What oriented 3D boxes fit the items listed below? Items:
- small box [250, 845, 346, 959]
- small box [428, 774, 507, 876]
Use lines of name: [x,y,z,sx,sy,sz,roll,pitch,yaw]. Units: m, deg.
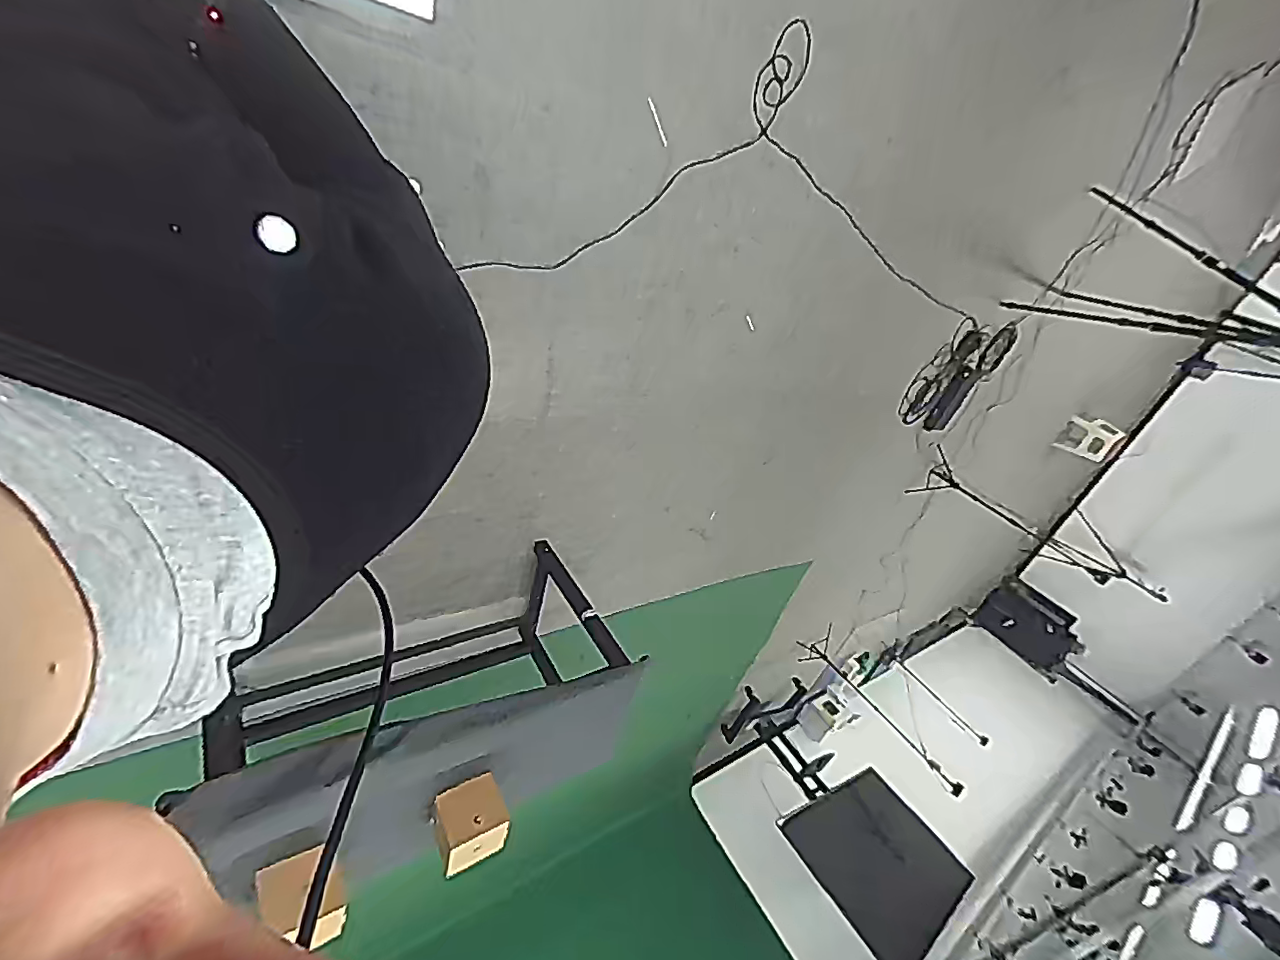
small box: [-0.867,1.074,1.367,0.179,0.176,0.168,-2,125,-41]
small box: [-0.524,1.033,1.634,0.179,0.176,0.168,-7,127,-35]
